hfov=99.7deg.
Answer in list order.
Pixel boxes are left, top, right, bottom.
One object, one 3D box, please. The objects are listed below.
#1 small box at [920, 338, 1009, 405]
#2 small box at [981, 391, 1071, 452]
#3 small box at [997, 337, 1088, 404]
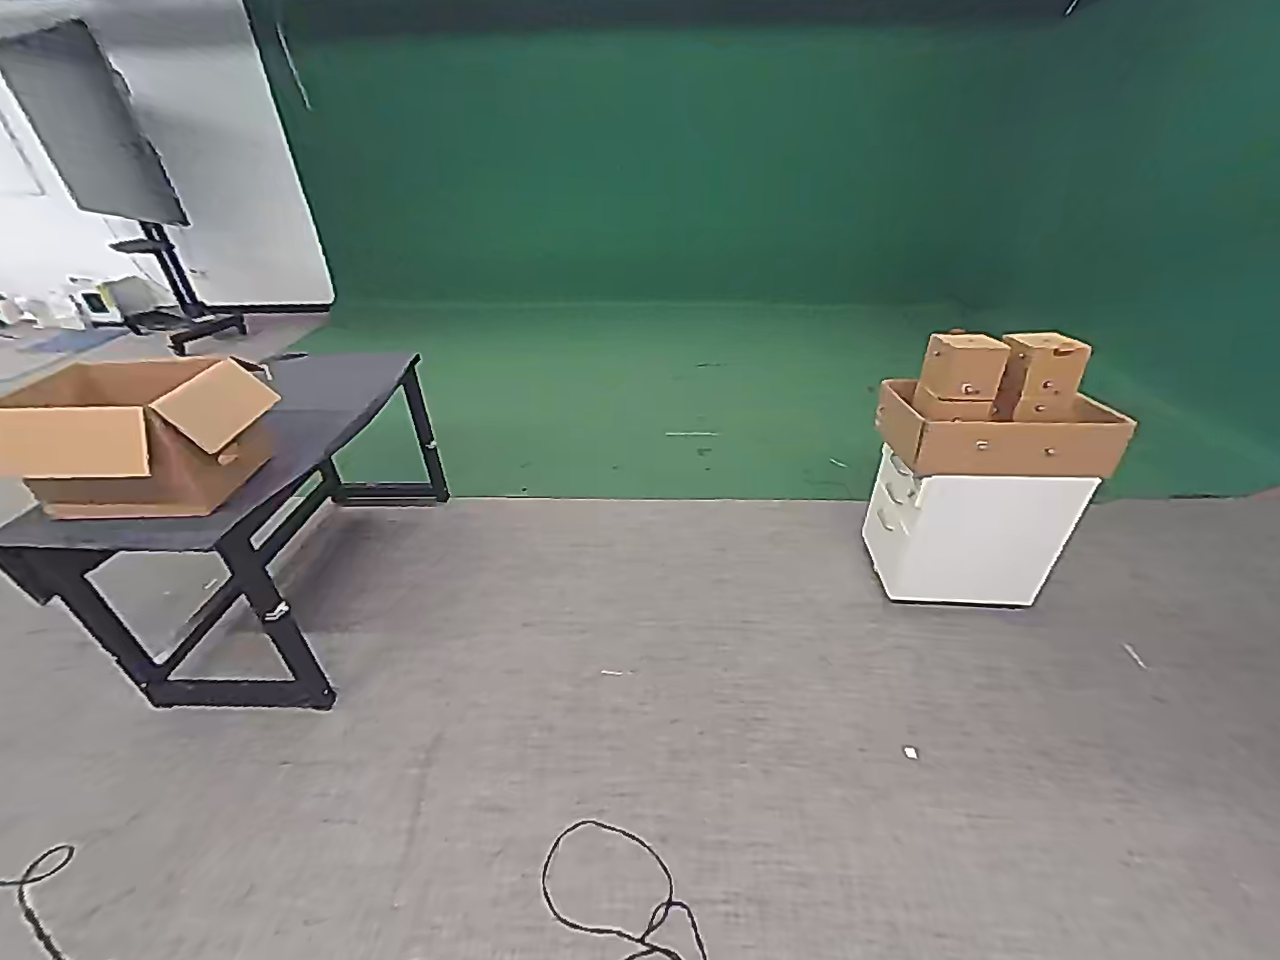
[{"bbox_3d":[1.020,-0.347,1.719,0.168,0.176,0.179,0,28,3],"label":"small box"},{"bbox_3d":[1.263,-0.202,1.788,0.168,0.176,0.179,-2,27,5],"label":"small box"},{"bbox_3d":[1.254,-0.348,1.714,0.168,0.176,0.179,-1,29,3],"label":"small box"}]
